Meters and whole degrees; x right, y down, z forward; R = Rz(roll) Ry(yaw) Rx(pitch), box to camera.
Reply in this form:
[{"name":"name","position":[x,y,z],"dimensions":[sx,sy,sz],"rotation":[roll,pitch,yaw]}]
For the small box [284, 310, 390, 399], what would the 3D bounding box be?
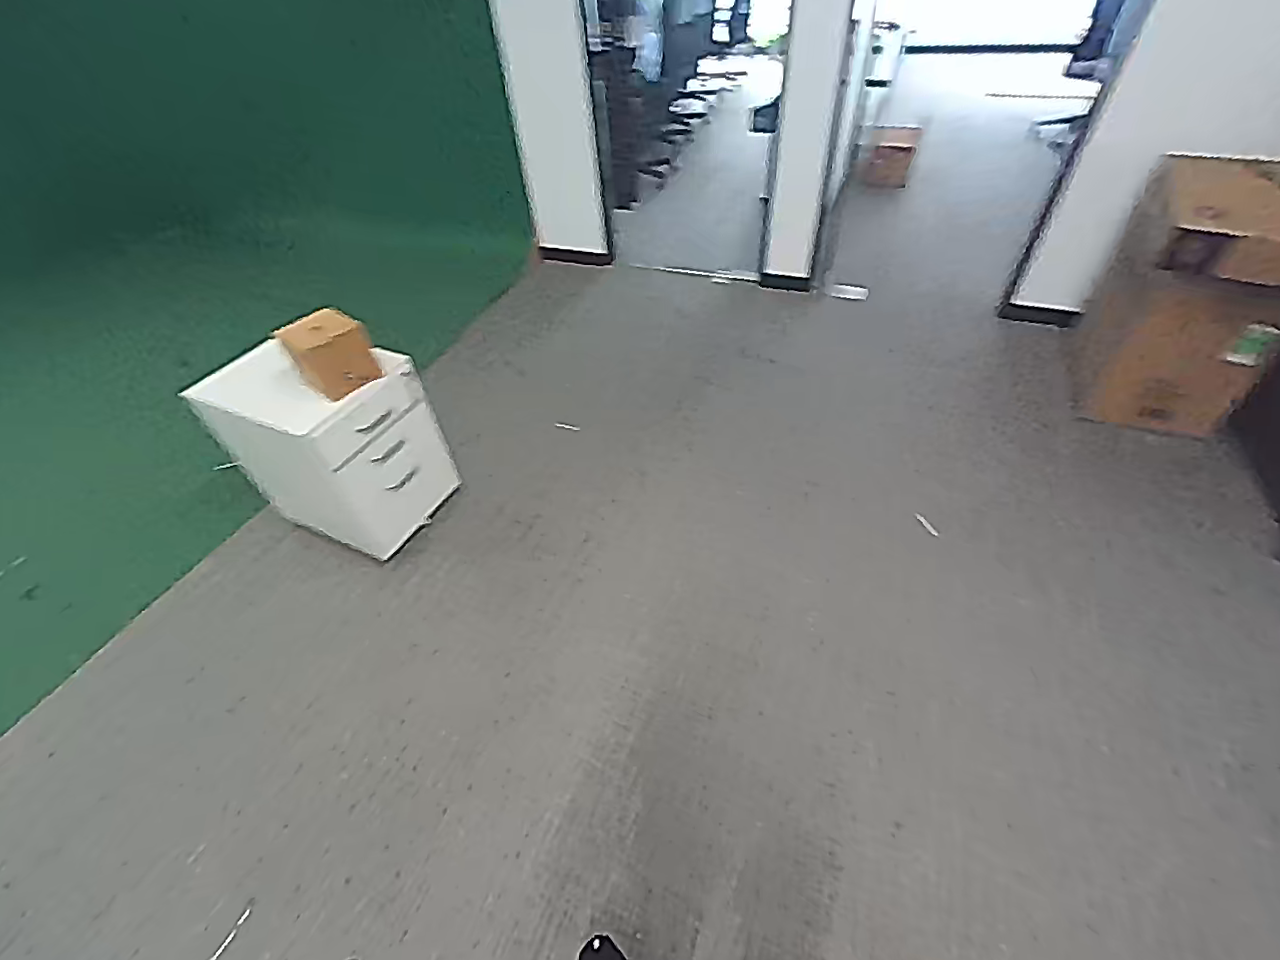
[{"name":"small box","position":[-0.850,-0.353,1.529],"dimensions":[0.179,0.176,0.168],"rotation":[28,55,29]}]
